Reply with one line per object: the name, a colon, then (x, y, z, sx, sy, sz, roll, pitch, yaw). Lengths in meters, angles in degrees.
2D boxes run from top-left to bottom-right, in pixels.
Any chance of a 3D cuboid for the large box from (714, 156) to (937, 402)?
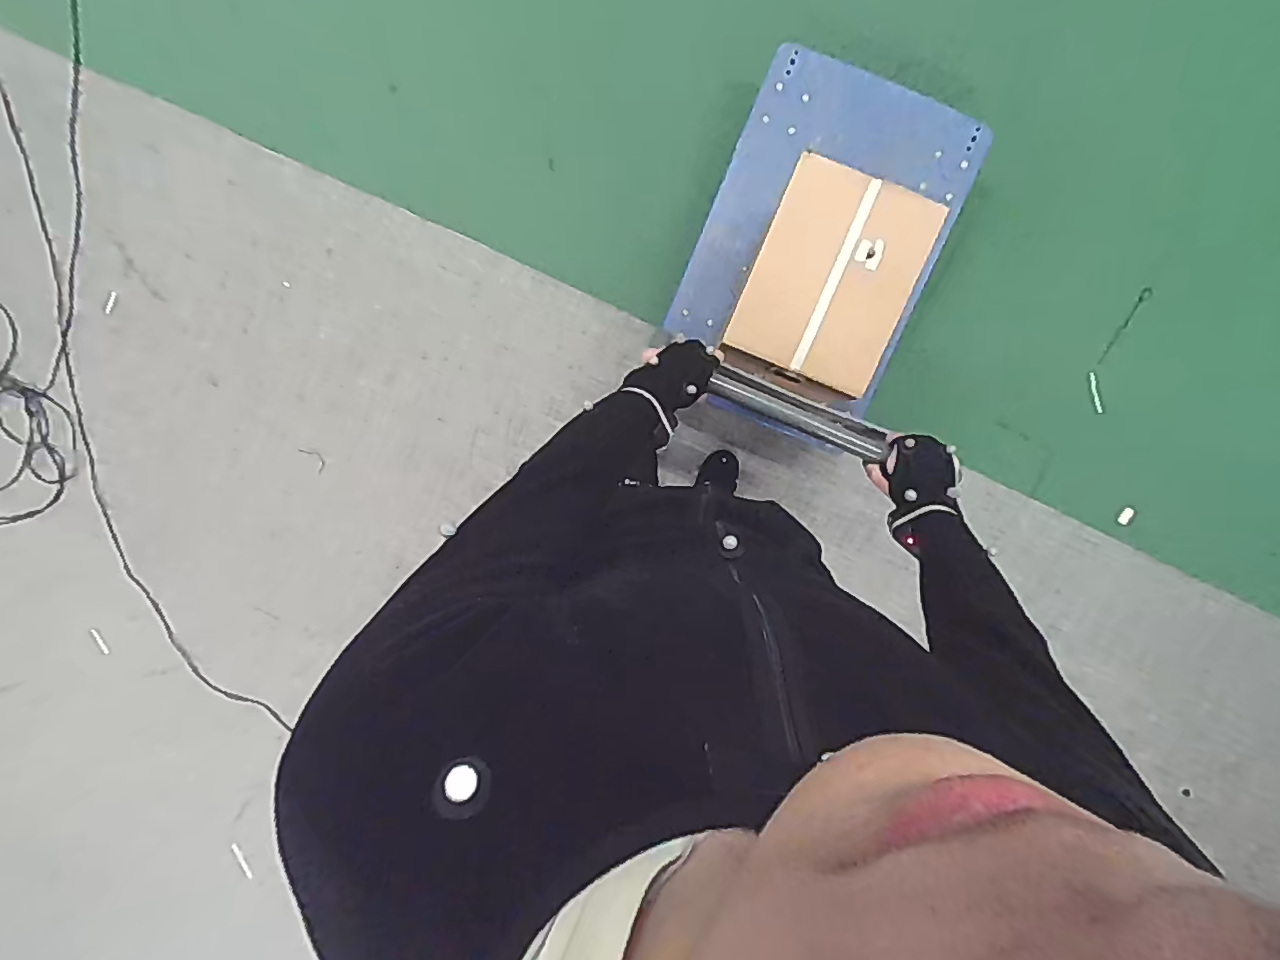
large box: (0.390, -0.424, 1.244, 0.320, 0.320, 0.408, 23, 96, 0)
